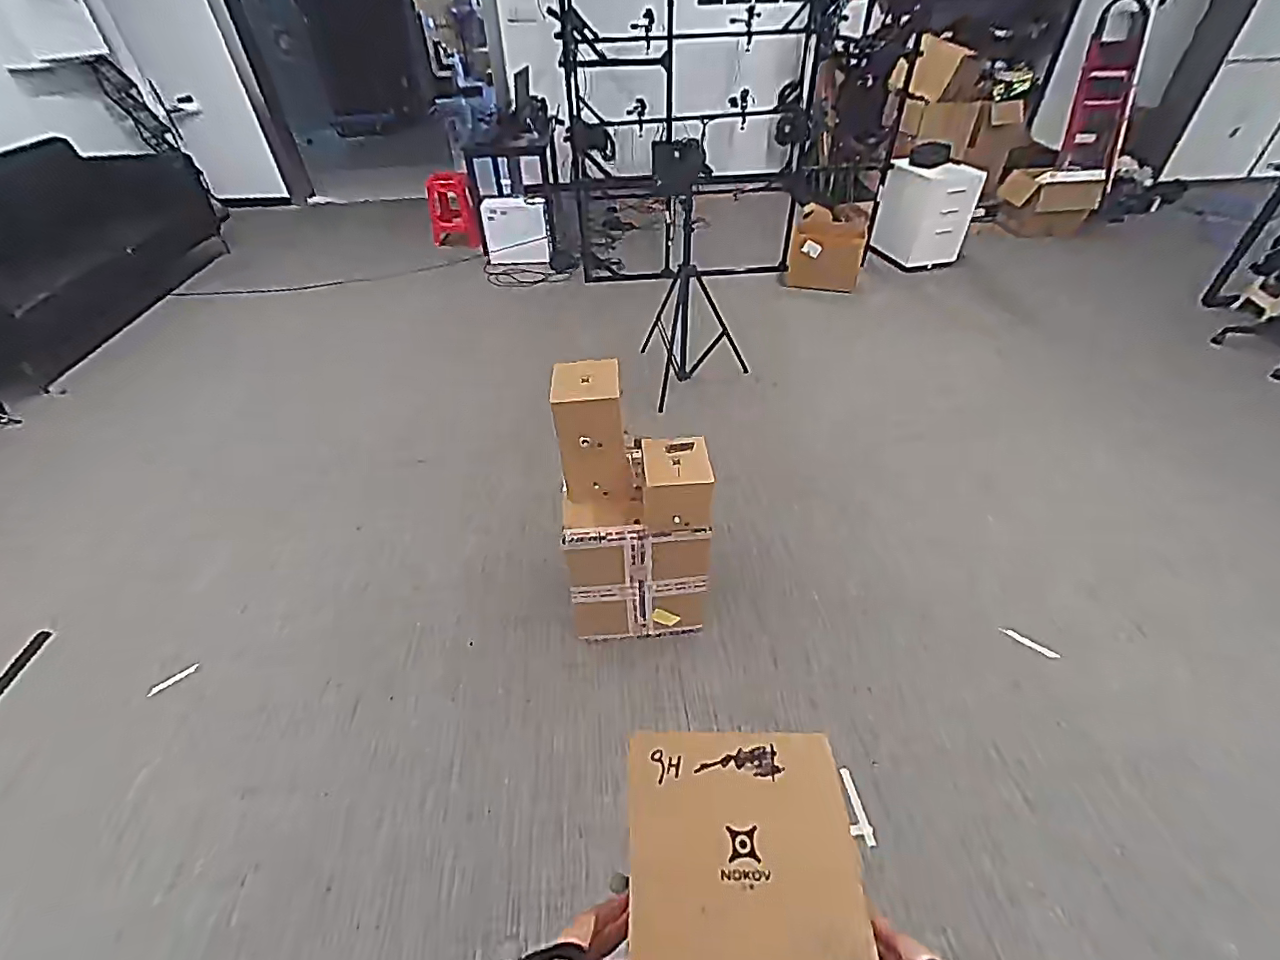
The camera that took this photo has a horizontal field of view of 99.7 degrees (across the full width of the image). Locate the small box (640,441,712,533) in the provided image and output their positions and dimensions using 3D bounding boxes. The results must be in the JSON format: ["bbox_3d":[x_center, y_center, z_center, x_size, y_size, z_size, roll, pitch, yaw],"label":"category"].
[{"bbox_3d":[0.087,0.018,1.402,0.168,0.176,0.179,-3,44,-3],"label":"small box"}]

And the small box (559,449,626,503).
[{"bbox_3d":[-0.126,-0.058,1.489,0.168,0.176,0.179,-5,44,-1],"label":"small box"}]

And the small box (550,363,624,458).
[{"bbox_3d":[-0.131,-0.176,1.377,0.168,0.176,0.179,-5,44,-1],"label":"small box"}]
